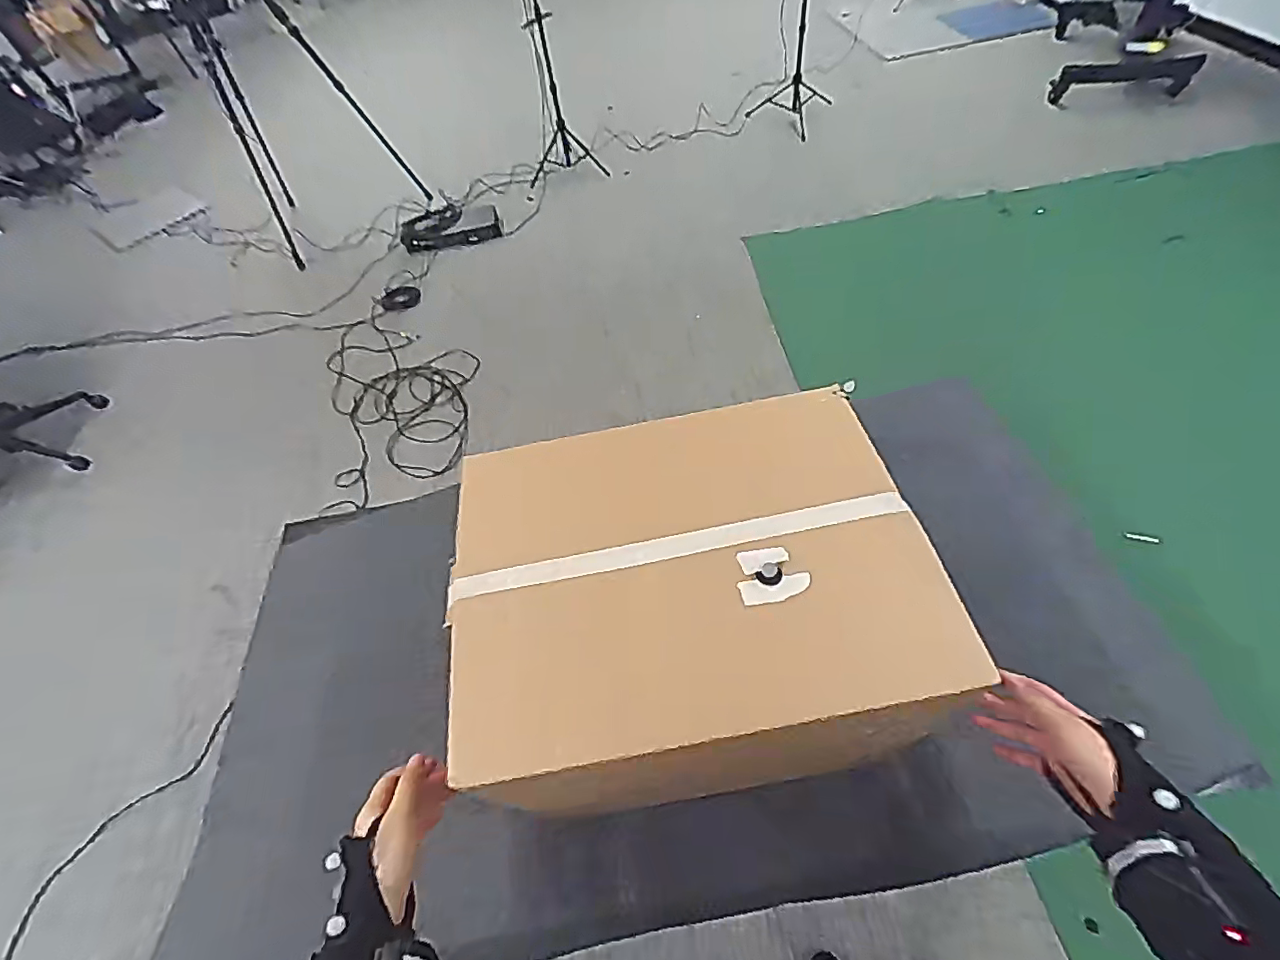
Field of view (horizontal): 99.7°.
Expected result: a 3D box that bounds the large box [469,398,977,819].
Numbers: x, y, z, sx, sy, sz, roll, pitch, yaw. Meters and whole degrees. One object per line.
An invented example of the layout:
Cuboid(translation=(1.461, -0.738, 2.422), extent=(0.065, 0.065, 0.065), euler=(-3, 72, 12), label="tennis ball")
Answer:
Cuboid(translation=(0.055, 0.156, 0.613), extent=(0.408, 0.320, 0.320), euler=(-11, 54, 0), label="large box")
